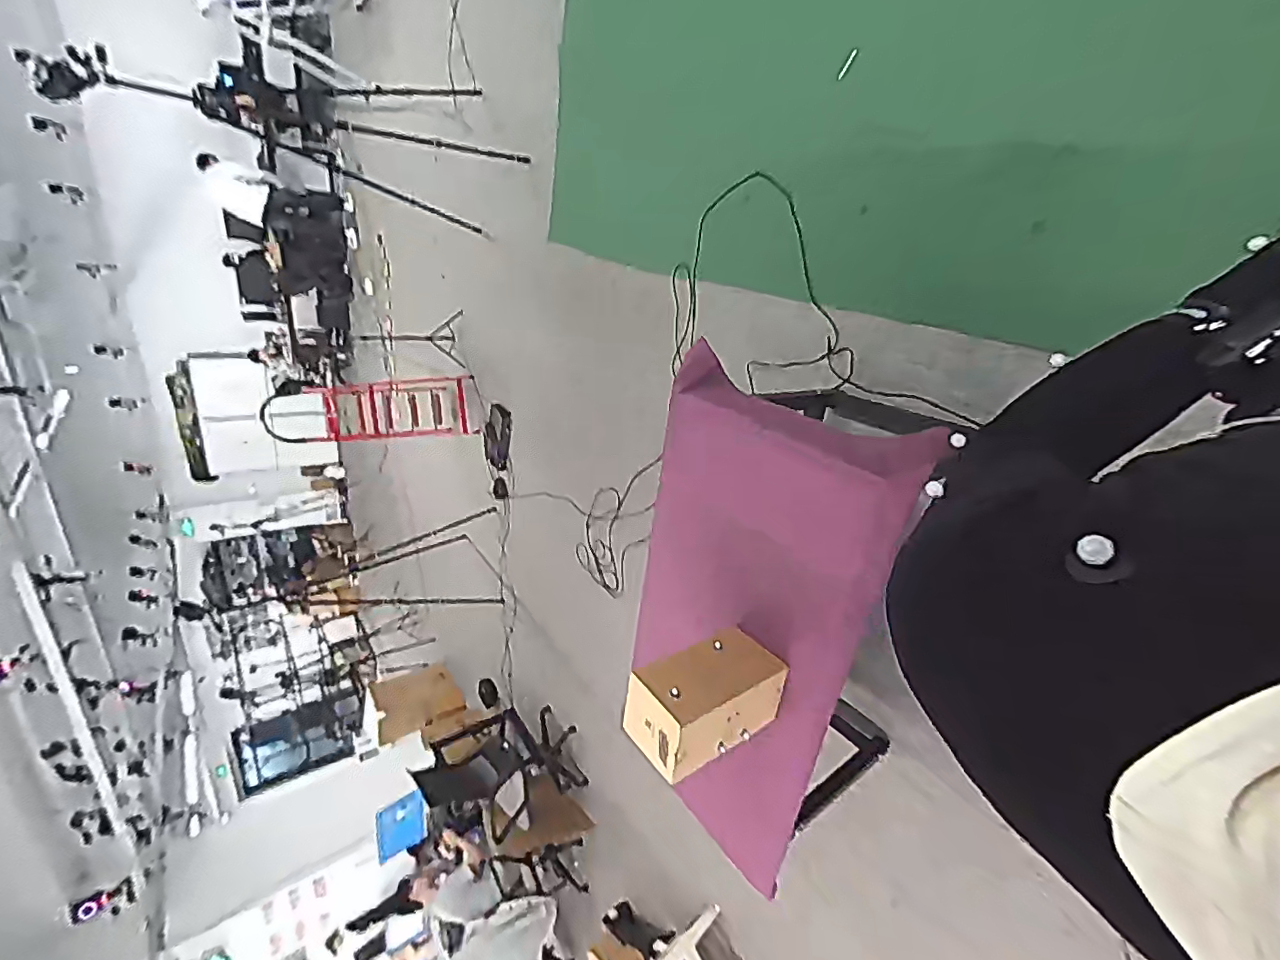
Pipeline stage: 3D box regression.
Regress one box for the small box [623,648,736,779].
[{"bbox_3d":[0.085,0.499,1.186,0.179,0.176,0.168,33,123,45],"label":"small box"}]
